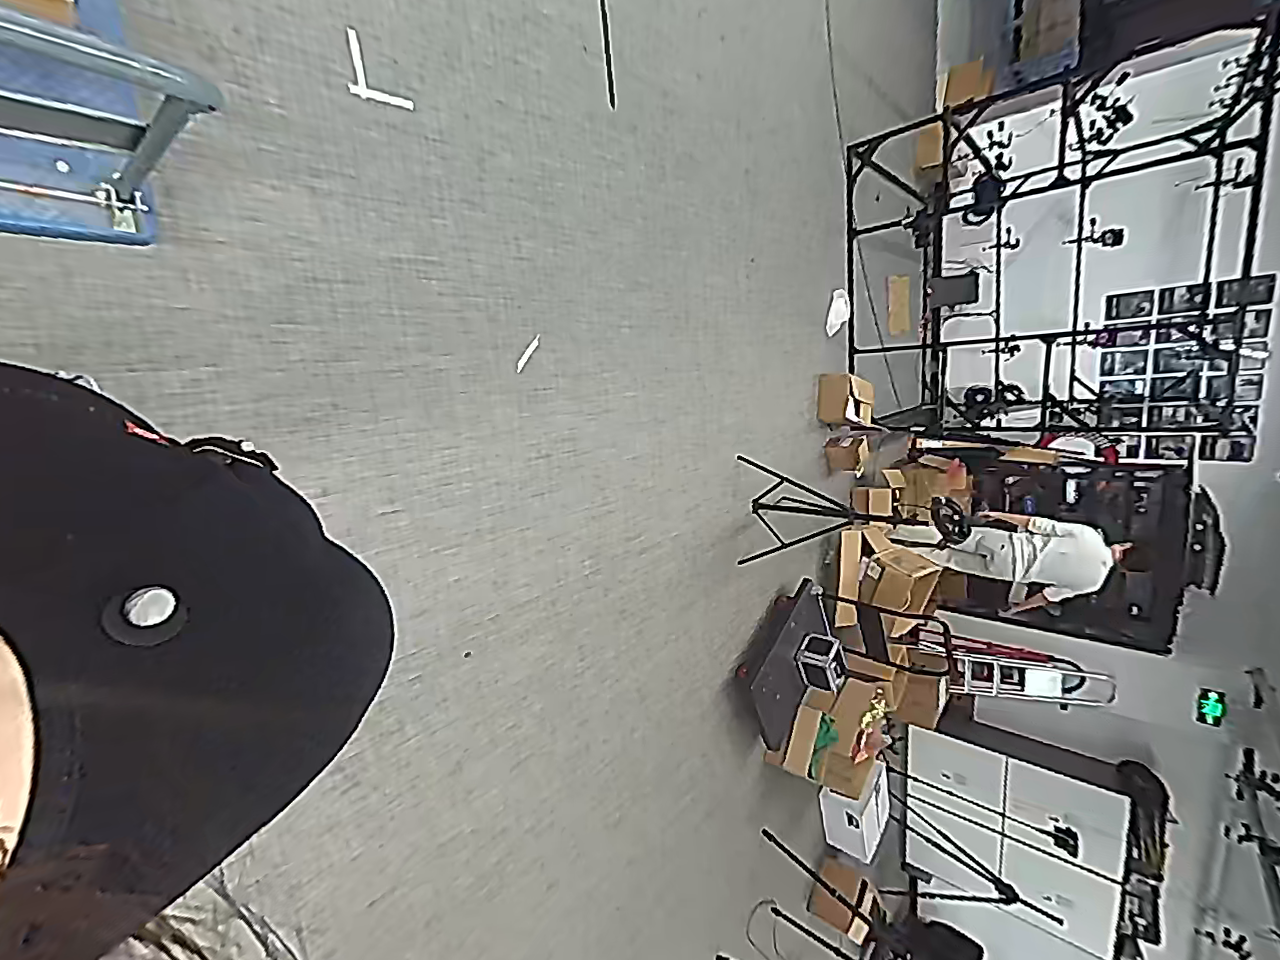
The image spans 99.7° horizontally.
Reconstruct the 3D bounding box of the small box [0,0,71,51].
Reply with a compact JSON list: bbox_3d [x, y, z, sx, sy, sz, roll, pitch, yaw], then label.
[{"bbox_3d":[-0.964,-0.760,0.773,0.179,0.176,0.168,-22,110,-46],"label":"small box"}]
